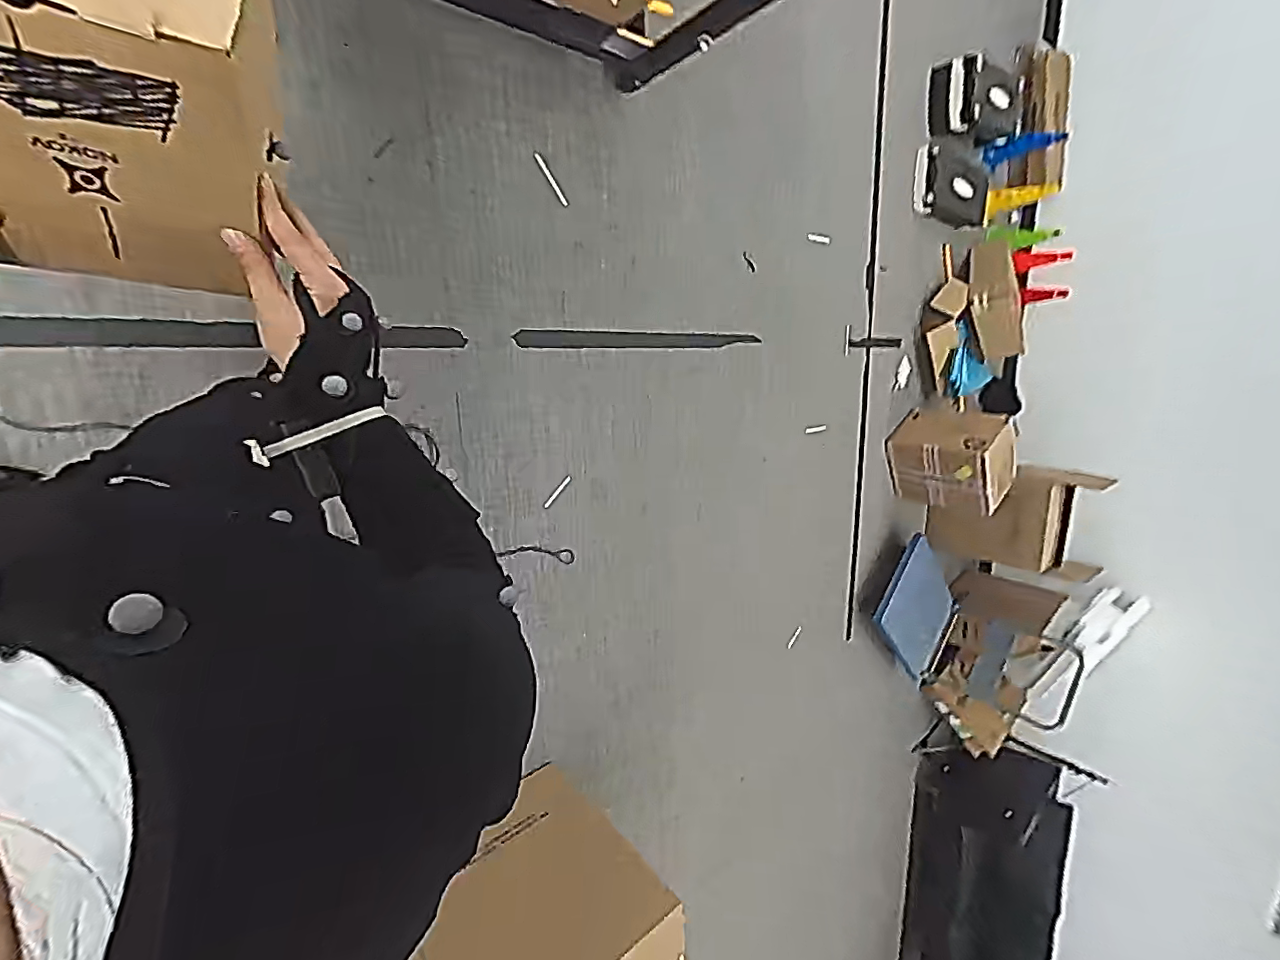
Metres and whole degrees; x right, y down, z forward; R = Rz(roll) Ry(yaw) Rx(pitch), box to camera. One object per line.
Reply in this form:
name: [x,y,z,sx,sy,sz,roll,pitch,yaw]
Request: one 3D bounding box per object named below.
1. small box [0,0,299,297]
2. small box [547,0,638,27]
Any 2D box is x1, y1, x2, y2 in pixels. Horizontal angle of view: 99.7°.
small box: [-0.328,-0.255,0.349,0.168,0.179,0.176,2,61,-27]
small box: [-0.108,-1.188,1.238,0.179,0.176,0.168,-14,109,-38]
